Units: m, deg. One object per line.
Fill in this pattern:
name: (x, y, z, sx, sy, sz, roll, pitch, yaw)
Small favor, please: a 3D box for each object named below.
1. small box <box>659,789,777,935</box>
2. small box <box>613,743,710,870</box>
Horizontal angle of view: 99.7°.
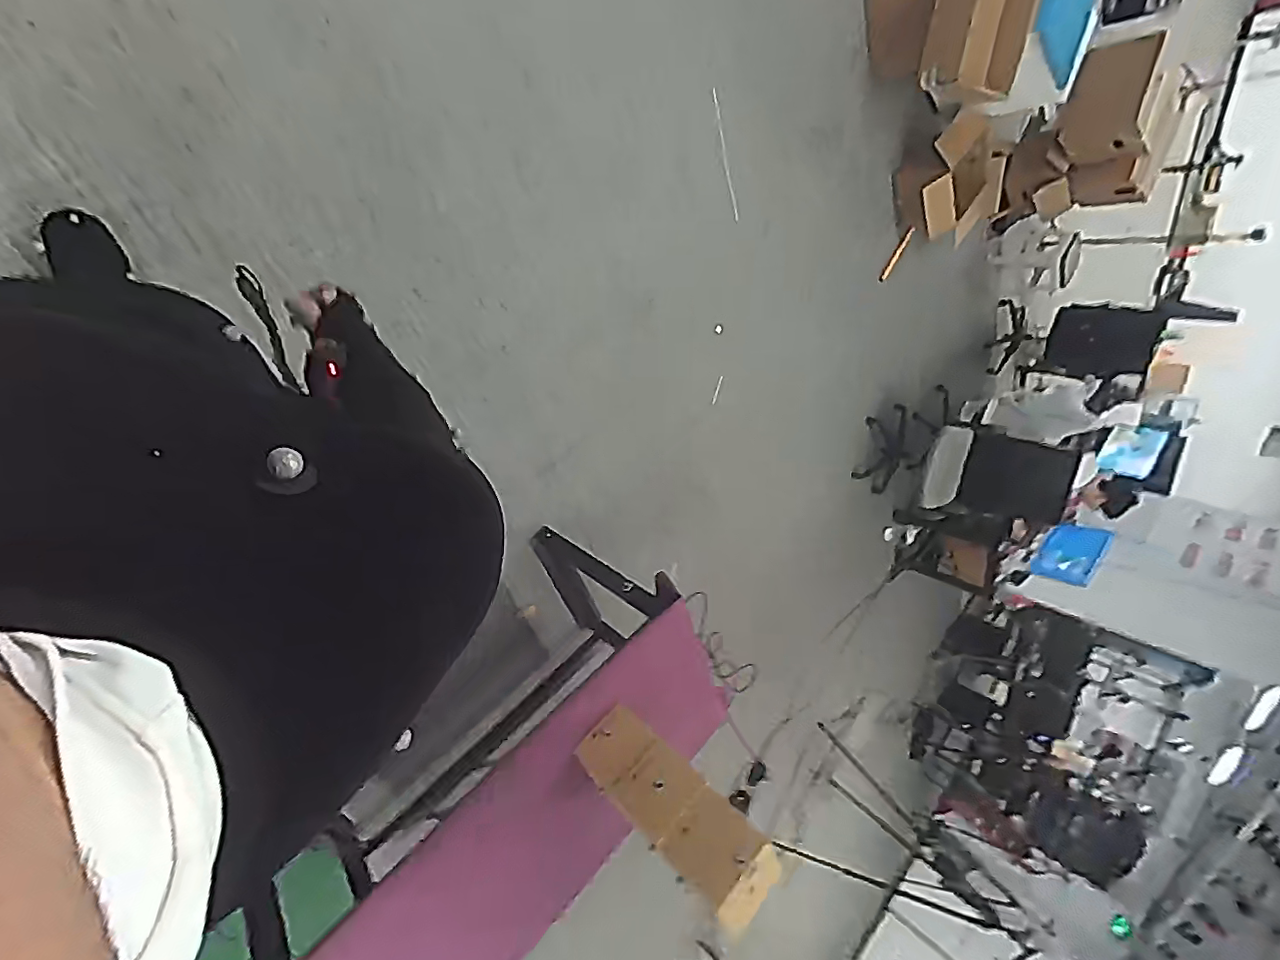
small box: (0.168, 0.812, 1.164, 0.168, 0.176, 0.179, -39, 129, -25)
small box: (0.061, 0.760, 1.277, 0.168, 0.176, 0.179, -37, 127, -26)
